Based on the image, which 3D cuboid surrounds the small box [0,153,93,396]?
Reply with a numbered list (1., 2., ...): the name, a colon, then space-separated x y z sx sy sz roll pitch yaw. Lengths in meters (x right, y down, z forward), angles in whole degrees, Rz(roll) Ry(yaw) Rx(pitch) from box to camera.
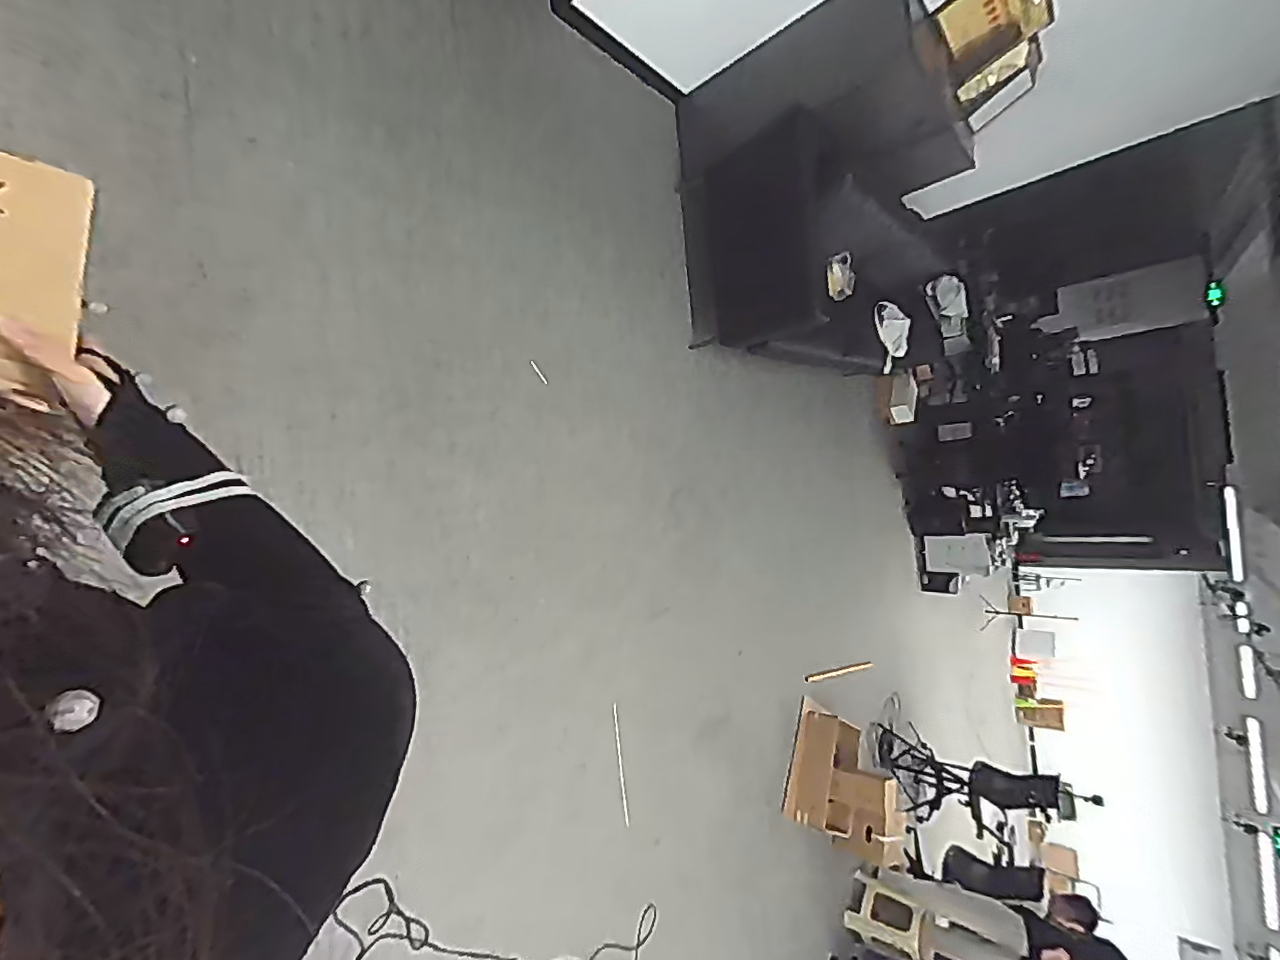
1. small box: -0.566 -0.176 0.435 0.168 0.176 0.179 7 96 -47
